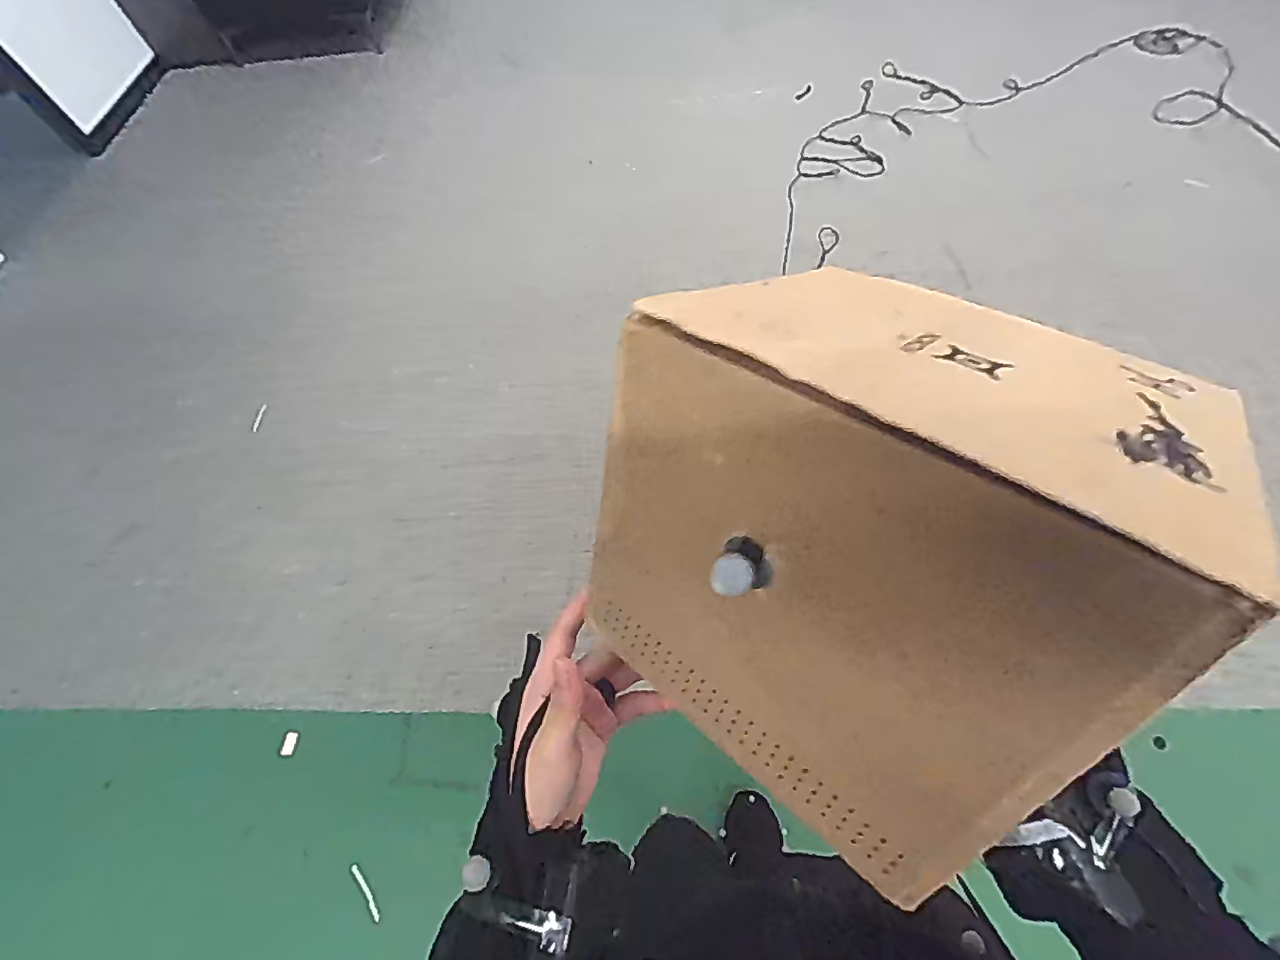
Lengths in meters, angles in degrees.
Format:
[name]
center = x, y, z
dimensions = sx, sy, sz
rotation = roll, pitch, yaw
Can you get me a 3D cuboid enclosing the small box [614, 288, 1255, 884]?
[small box]
center = 0.104, 0.028, 0.249
dimensions = 0.179, 0.176, 0.168
rotation = 32, 42, 29
